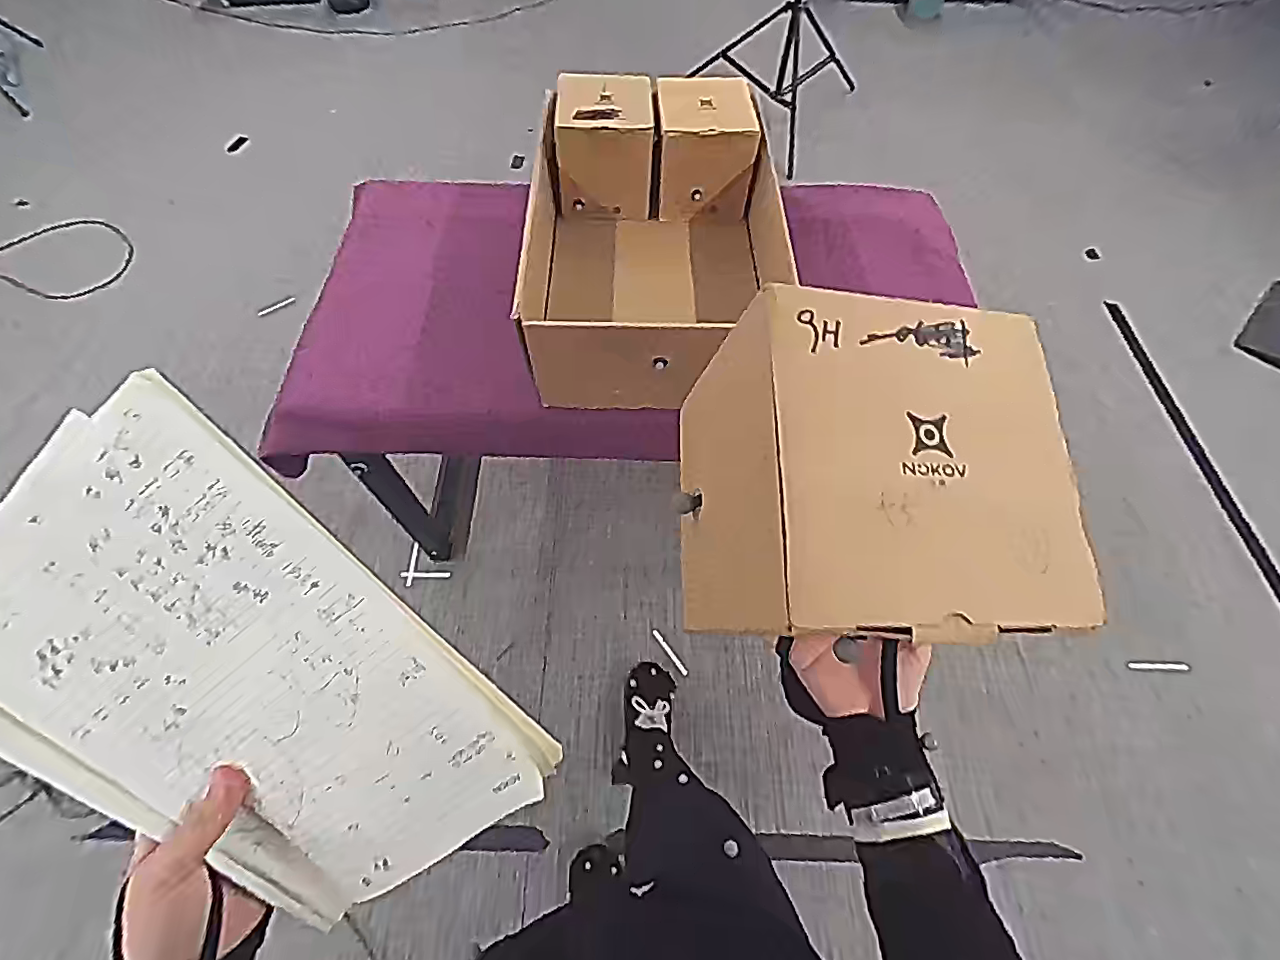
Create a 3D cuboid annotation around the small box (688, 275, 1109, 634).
[{"bbox_3d":[0.132,0.004,0.343,0.168,0.176,0.179,3,75,-11],"label":"small box"}]
